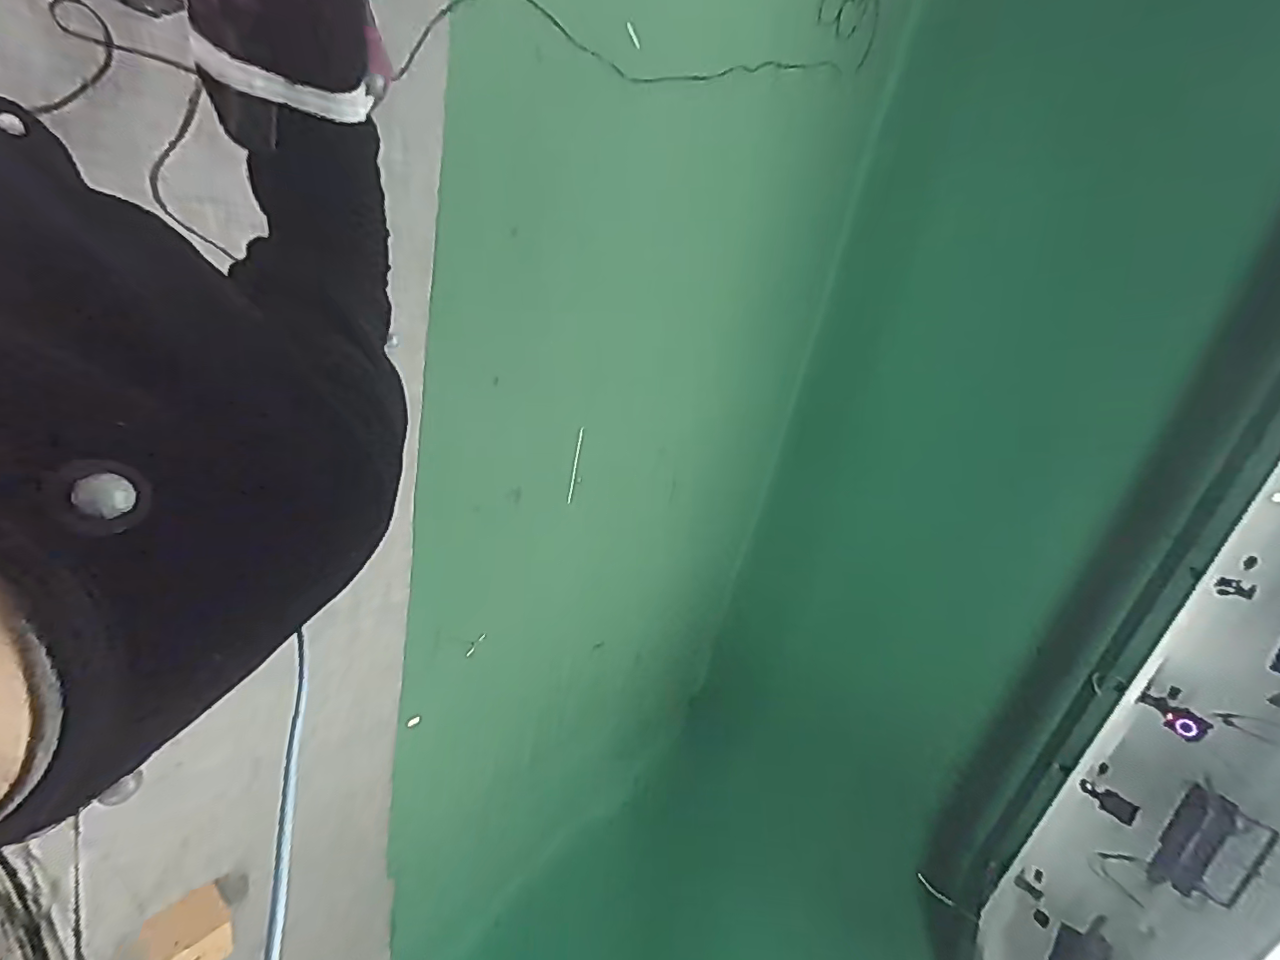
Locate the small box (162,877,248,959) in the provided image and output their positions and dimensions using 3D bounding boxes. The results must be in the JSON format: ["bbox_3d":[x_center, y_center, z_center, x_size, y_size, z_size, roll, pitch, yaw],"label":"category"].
[{"bbox_3d":[-1.379,1.425,1.710,0.179,0.176,0.168,-17,125,-51],"label":"small box"}]
